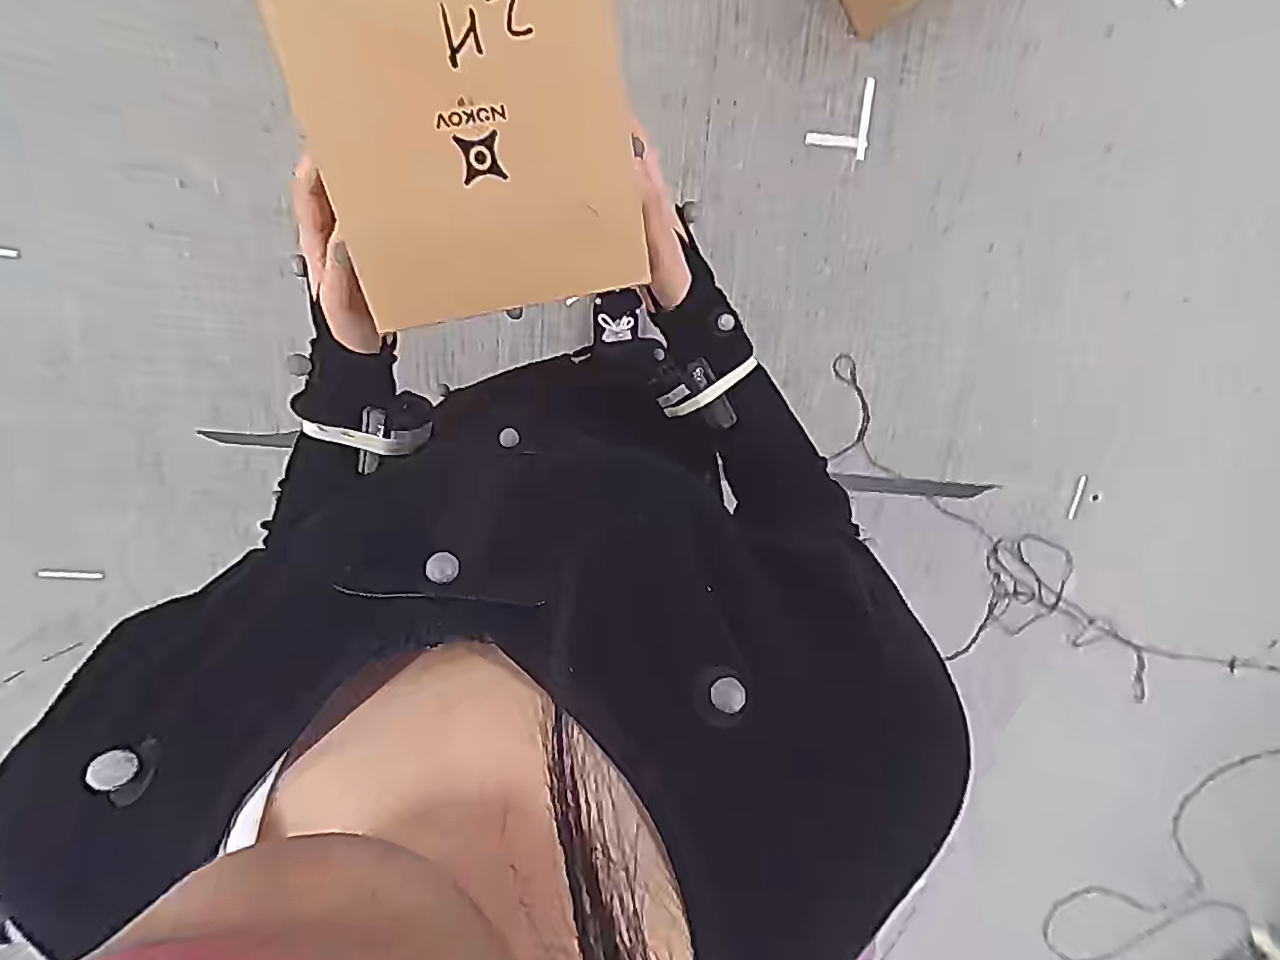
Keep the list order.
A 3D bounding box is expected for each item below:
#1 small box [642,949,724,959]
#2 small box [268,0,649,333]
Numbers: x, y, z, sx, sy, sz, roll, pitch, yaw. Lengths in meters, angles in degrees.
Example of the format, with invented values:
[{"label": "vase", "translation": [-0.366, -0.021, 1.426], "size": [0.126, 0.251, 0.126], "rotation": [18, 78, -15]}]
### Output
[{"label": "small box", "translation": [0.084, 0.999, 0.984], "size": [0.168, 0.176, 0.179], "rotation": [3, 107, -7]}, {"label": "small box", "translation": [-0.100, -0.213, 0.362], "size": [0.168, 0.176, 0.179], "rotation": [-14, 116, -8]}]
